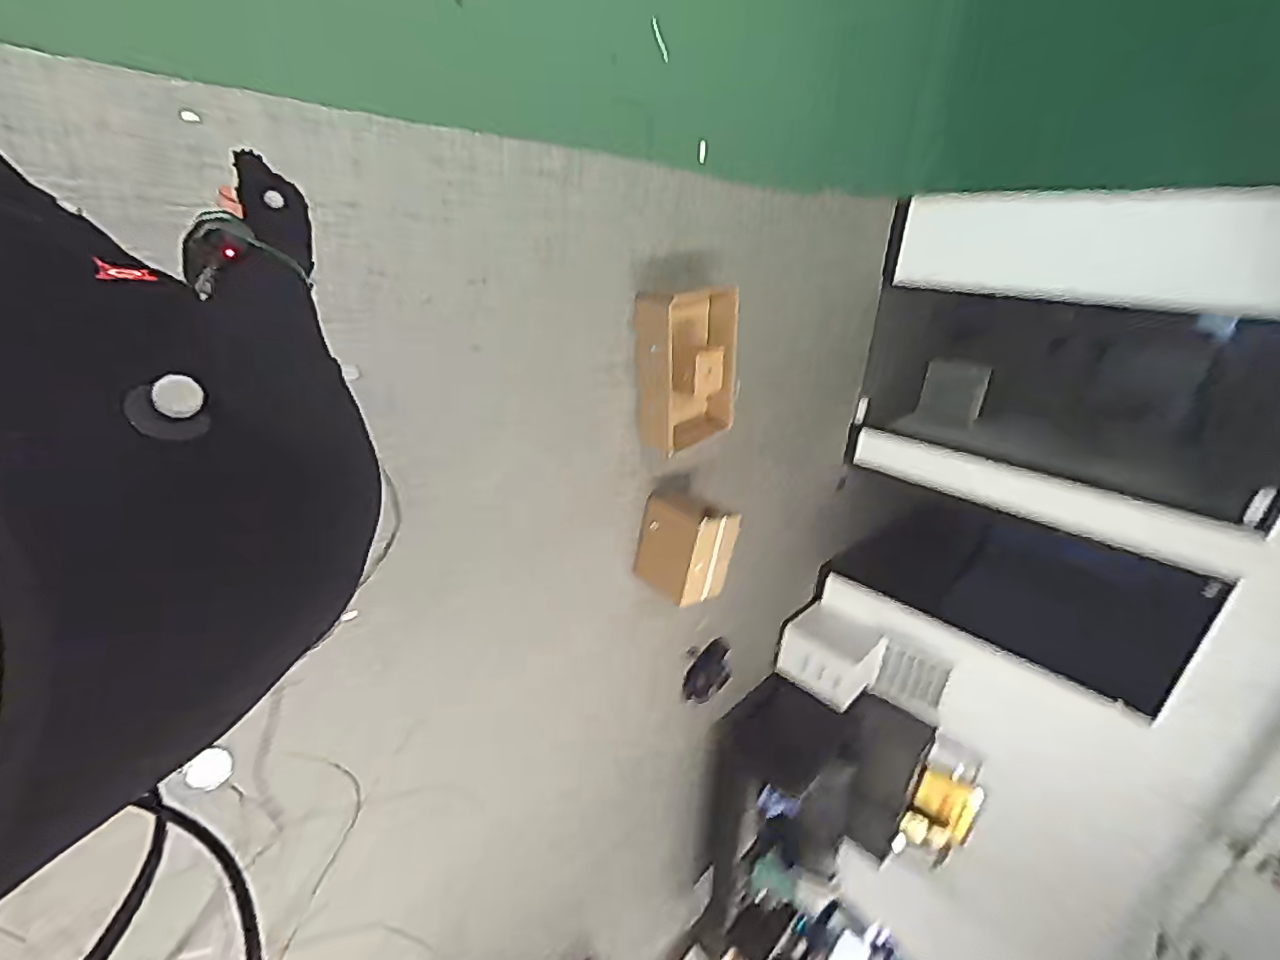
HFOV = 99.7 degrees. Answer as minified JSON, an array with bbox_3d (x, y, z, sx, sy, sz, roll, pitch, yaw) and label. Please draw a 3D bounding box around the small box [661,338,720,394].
[{"bbox_3d":[0.199,-0.462,2.156,0.168,0.176,0.179,-26,128,-38],"label":"small box"}]
